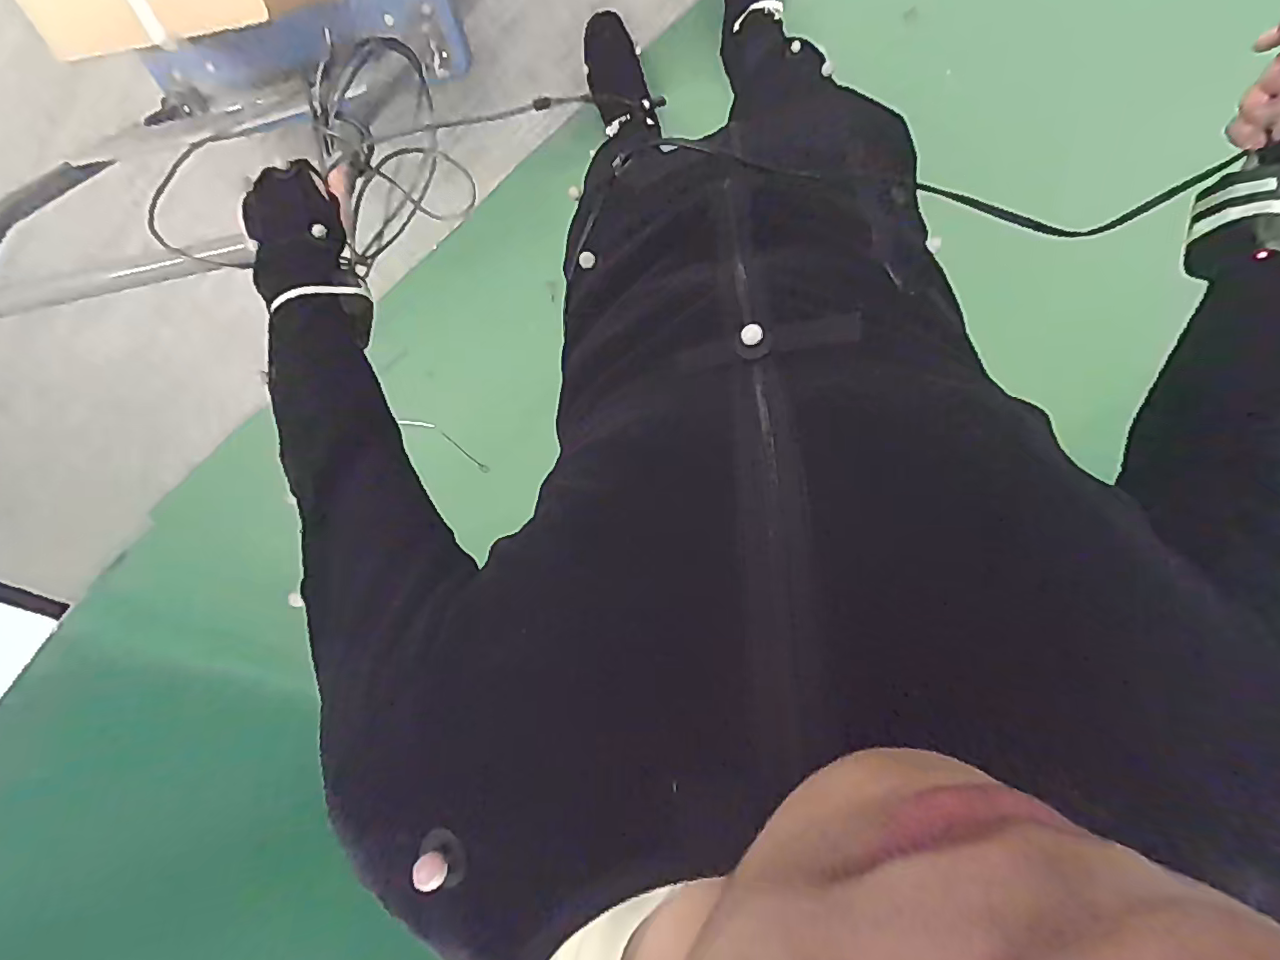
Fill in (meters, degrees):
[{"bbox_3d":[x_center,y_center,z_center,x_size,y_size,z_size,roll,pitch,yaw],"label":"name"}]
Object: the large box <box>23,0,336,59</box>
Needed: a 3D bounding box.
[{"bbox_3d":[-0.666,-0.833,0.688,0.320,0.320,0.408,-8,135,4],"label":"large box"}]
